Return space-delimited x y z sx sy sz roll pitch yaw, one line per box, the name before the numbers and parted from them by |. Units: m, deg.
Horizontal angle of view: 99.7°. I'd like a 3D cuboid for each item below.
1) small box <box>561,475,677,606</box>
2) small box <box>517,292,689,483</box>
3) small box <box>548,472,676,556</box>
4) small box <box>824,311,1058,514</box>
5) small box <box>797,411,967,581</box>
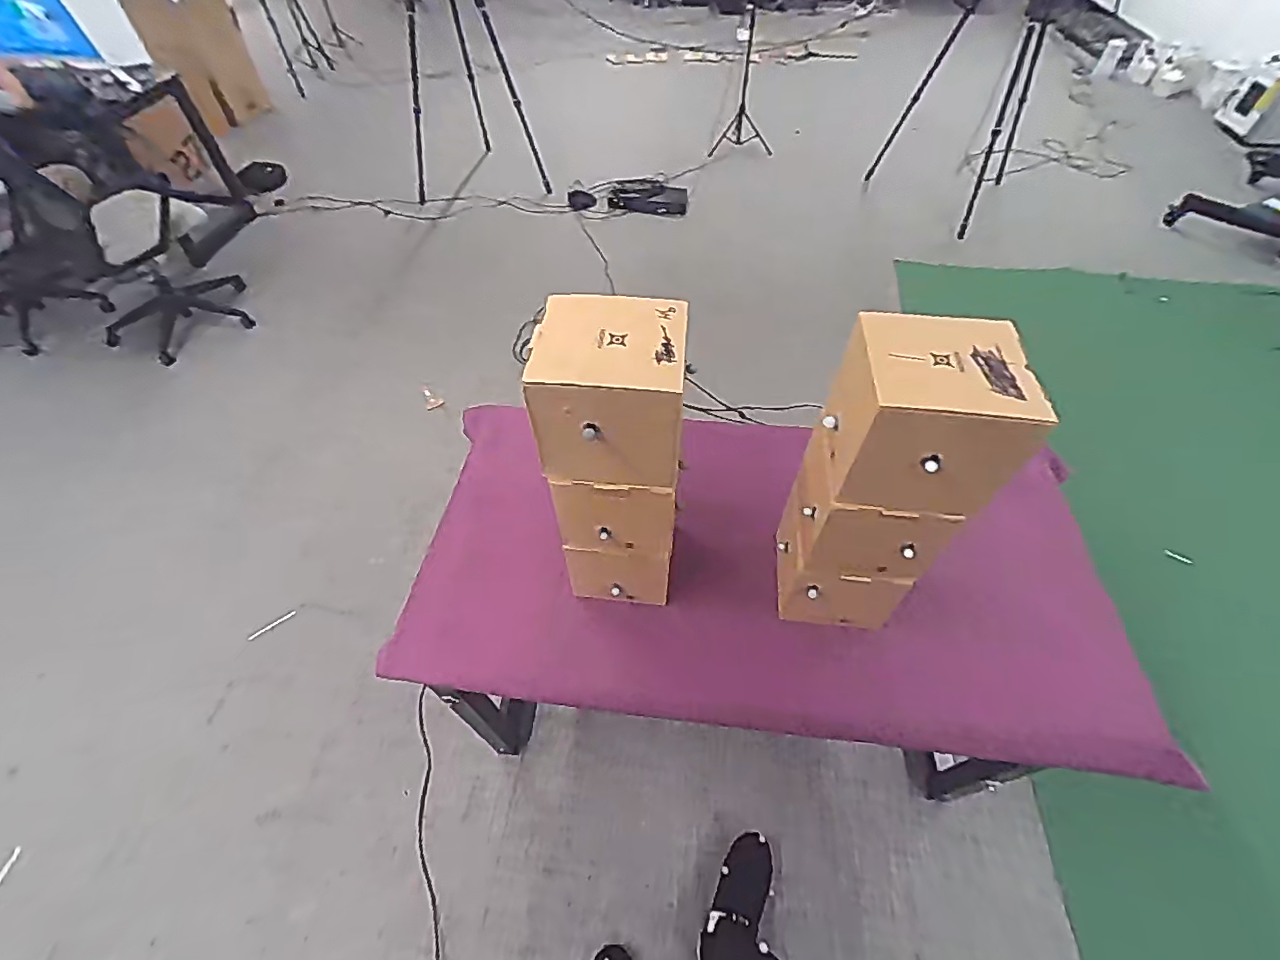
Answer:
small box | -0.030 0.093 0.927 0.168 0.176 0.179 6 52 5
small box | -0.034 -0.111 0.673 0.179 0.176 0.168 4 53 4
small box | -0.030 -0.009 0.801 0.168 0.176 0.179 5 53 3
small box | 0.333 -0.075 0.642 0.179 0.176 0.168 6 52 5
small box | 0.326 0.027 0.770 0.168 0.176 0.179 6 51 4
